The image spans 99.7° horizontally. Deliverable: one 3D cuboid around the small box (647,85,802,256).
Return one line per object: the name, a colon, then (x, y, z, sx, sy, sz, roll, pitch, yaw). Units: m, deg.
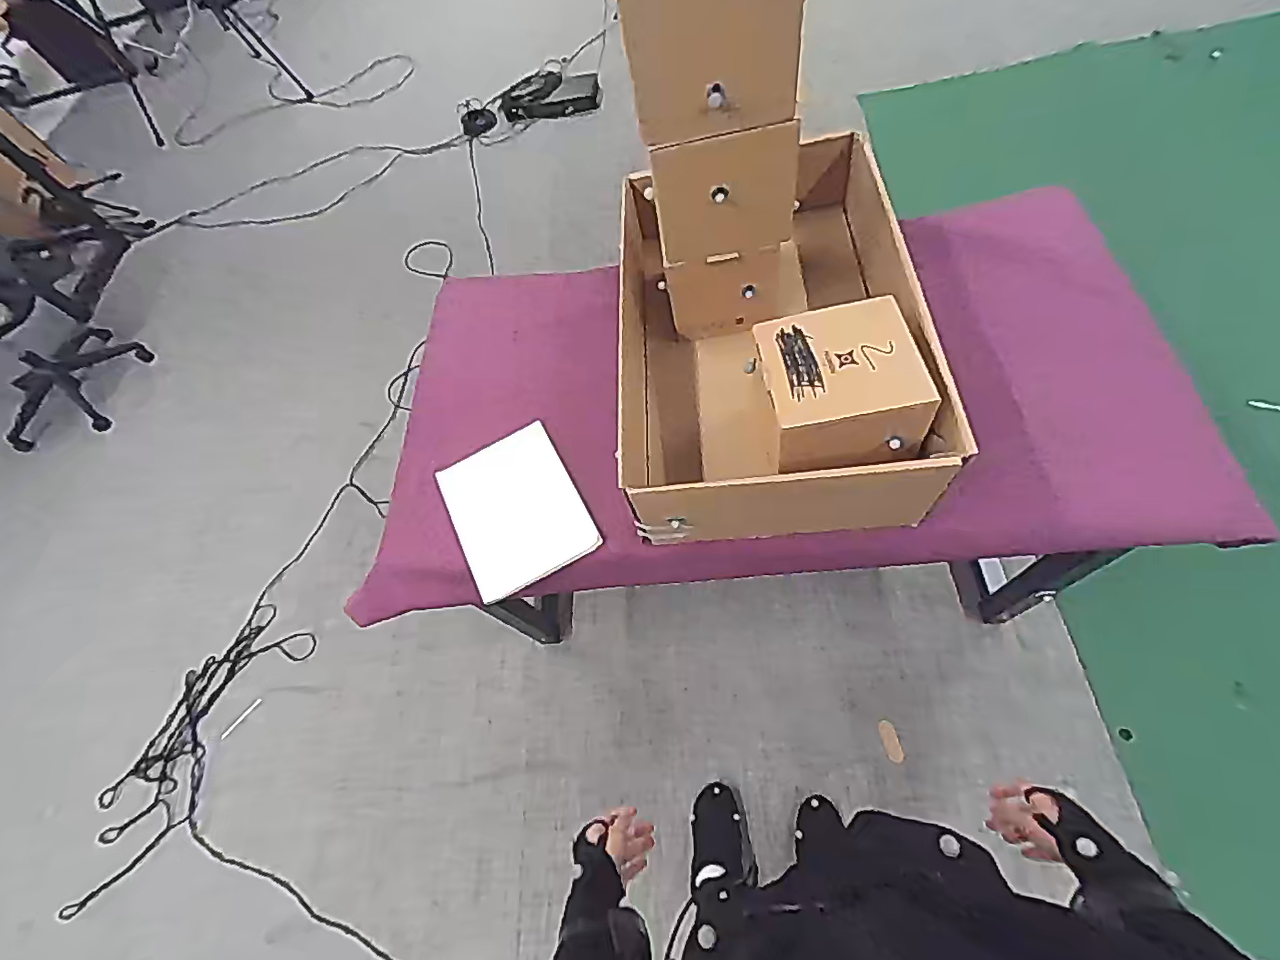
small box: (0.103, -0.429, 0.715, 0.179, 0.176, 0.168, -8, 62, 8)

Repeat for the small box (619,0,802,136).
small box: (0.072, -0.504, 0.573, 0.179, 0.176, 0.168, -5, 63, 7)
